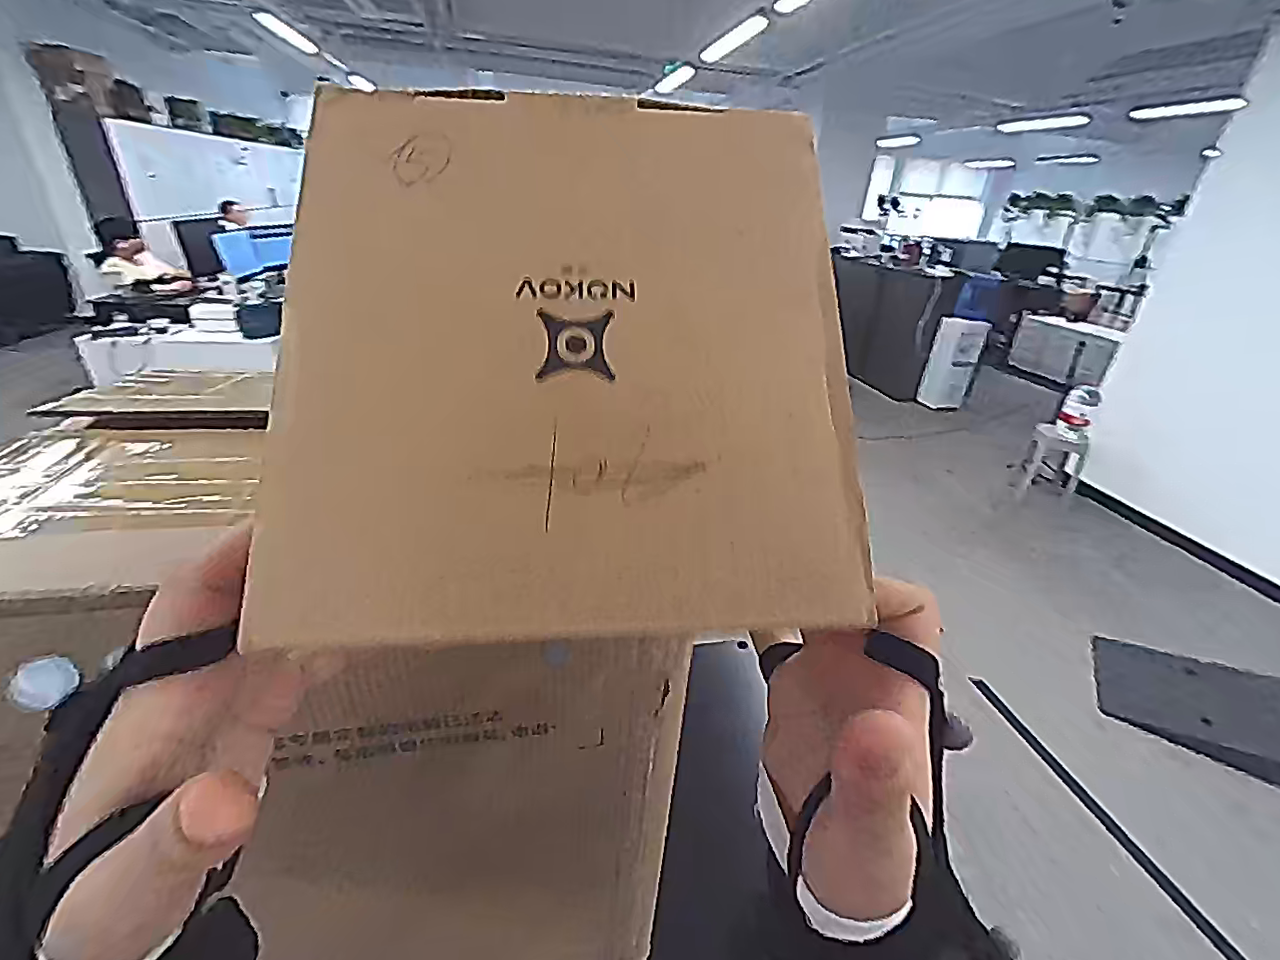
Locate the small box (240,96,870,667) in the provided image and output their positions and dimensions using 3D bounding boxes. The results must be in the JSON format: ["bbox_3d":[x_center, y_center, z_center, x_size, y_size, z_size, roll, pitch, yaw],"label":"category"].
[{"bbox_3d":[-0.027,-0.020,0.237,0.168,0.179,0.176,-1,-12,-5],"label":"small box"}]
